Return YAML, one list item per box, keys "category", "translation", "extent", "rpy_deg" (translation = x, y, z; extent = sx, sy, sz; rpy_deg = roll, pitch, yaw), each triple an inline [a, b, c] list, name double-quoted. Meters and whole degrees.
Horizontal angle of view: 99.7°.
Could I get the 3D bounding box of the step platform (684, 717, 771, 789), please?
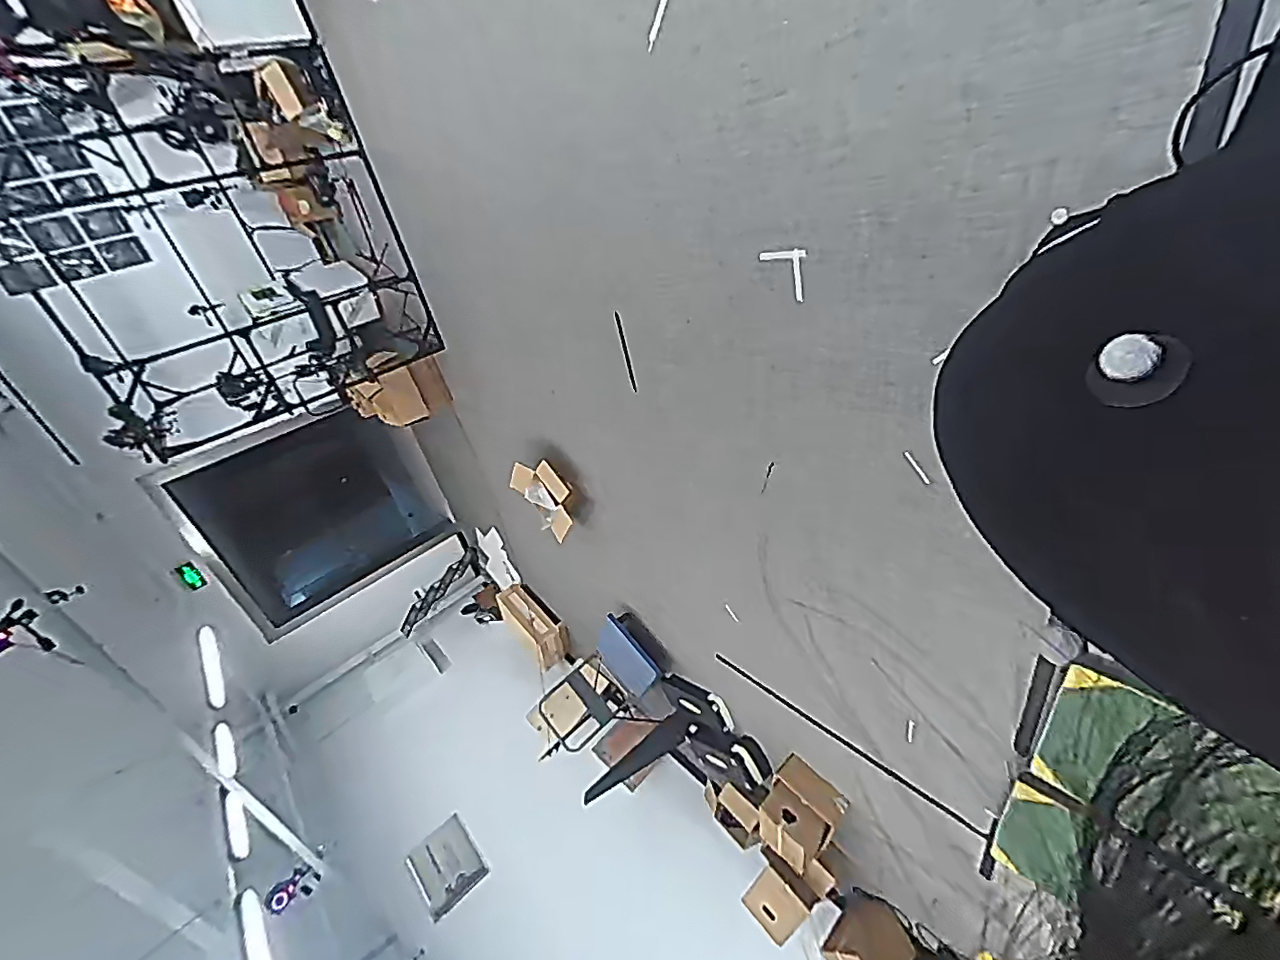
- category: "step platform"
  translation: [0.602, 1.943, 3.868]
  extent: [0.286, 0.204, 0.684]
  rpy_deg: [60, 150, -6]
